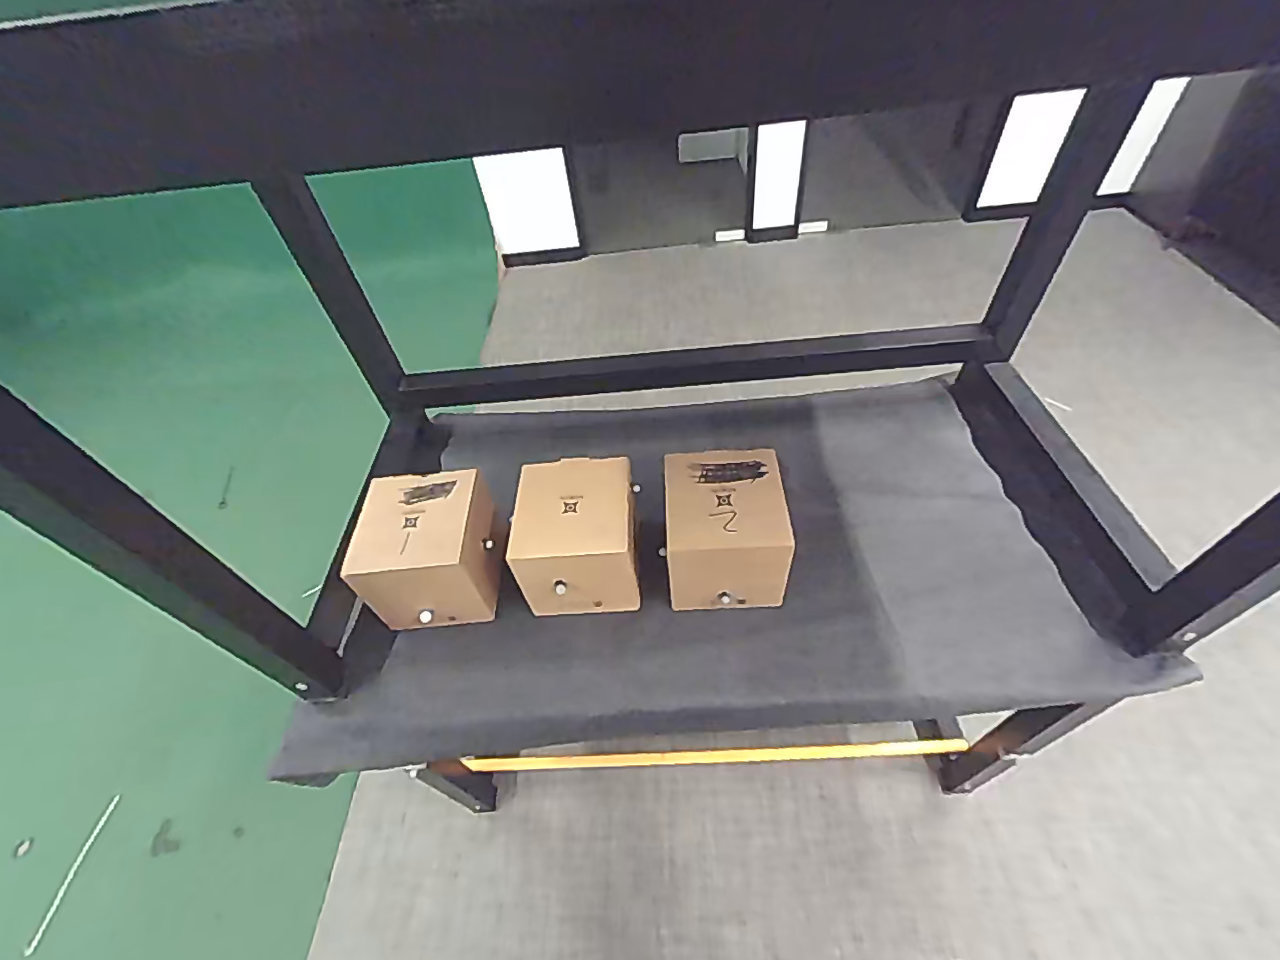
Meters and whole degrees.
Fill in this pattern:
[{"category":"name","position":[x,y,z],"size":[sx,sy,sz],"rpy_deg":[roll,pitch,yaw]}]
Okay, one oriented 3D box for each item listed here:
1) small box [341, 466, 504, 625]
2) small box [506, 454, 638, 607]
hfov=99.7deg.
[{"category":"small box","position":[-0.318,0.102,0.836],"size":[0.168,0.176,0.179],"rpy_deg":[-6,49,2]},{"category":"small box","position":[-0.092,0.083,0.828],"size":[0.168,0.176,0.179],"rpy_deg":[-4,48,3]}]
